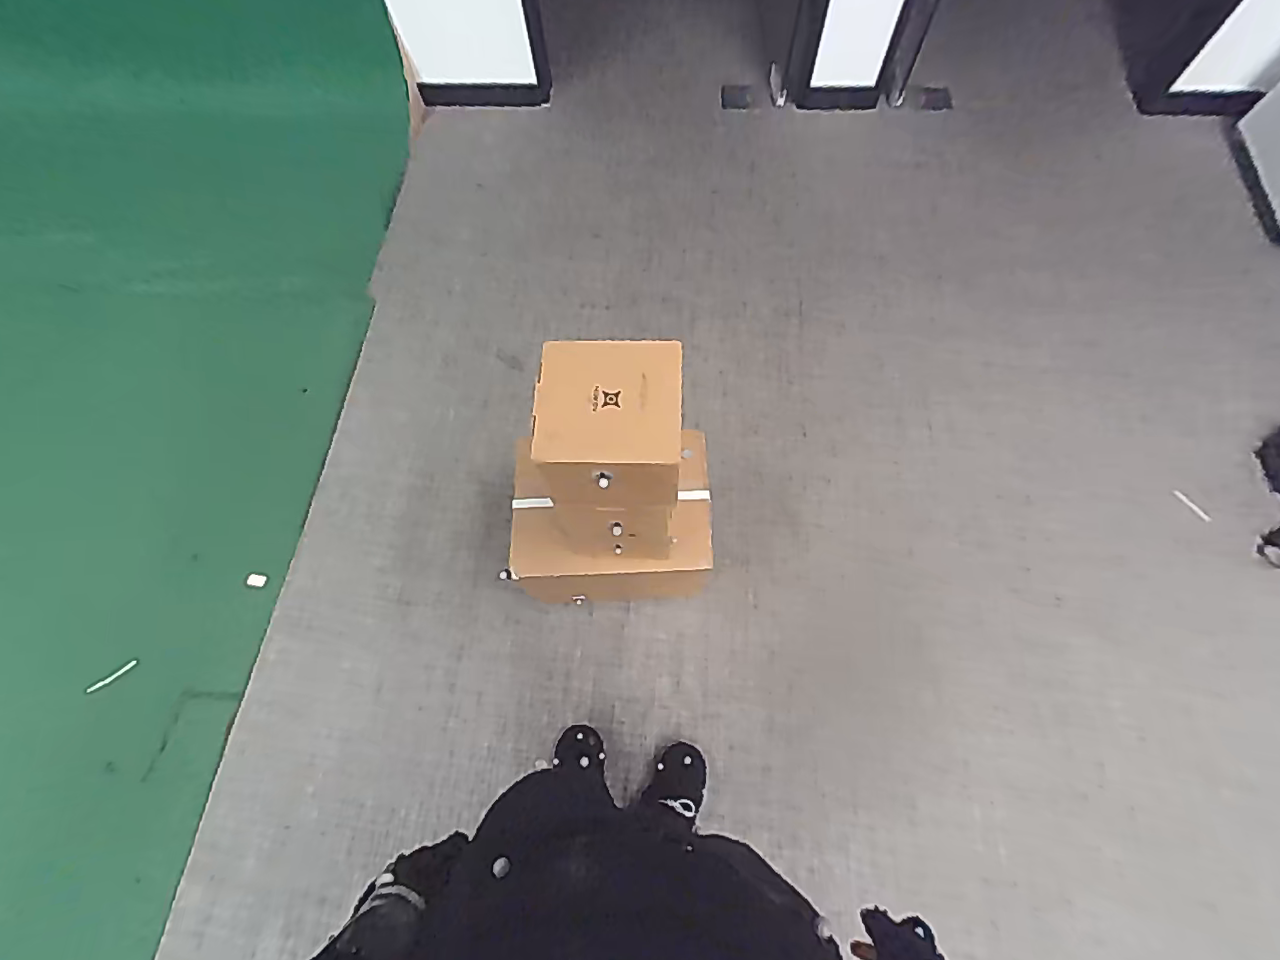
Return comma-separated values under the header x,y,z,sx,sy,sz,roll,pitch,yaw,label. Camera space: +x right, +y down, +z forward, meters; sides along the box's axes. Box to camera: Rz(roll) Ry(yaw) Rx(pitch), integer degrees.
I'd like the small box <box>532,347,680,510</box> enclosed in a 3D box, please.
x,y,z,sx,sy,sz,roll,pitch,yaw,label
-0.035,-0.061,0.729,0.179,0.176,0.168,1,69,2,small box

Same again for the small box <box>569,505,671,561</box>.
x,y,z,sx,sy,sz,roll,pitch,yaw,label
-0.028,0.054,1.033,0.179,0.176,0.168,1,68,4,small box

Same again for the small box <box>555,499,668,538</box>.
x,y,z,sx,sy,sz,roll,pitch,yaw,label
-0.037,-0.007,0.883,0.168,0.176,0.179,0,68,2,small box
